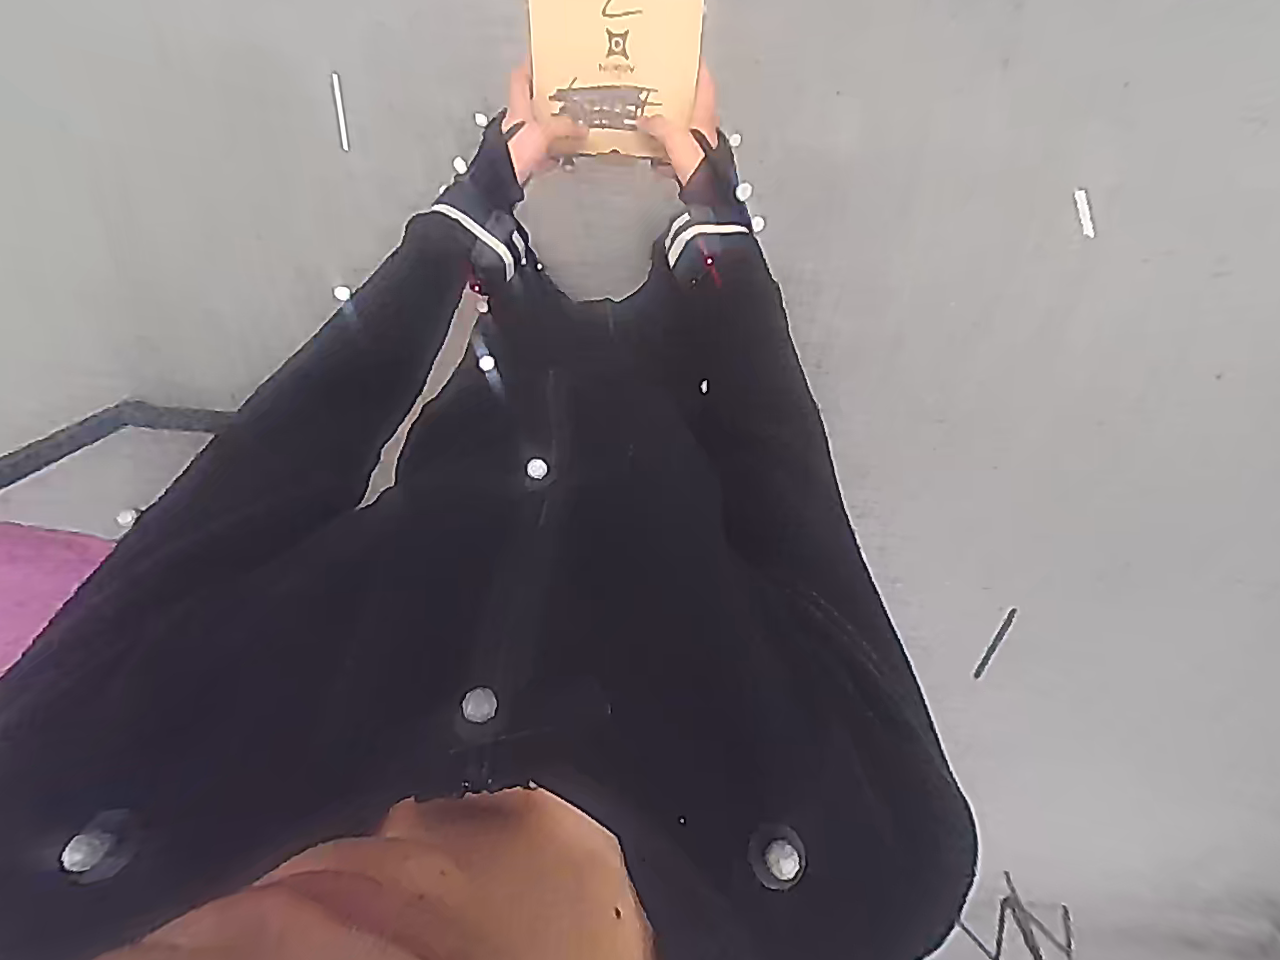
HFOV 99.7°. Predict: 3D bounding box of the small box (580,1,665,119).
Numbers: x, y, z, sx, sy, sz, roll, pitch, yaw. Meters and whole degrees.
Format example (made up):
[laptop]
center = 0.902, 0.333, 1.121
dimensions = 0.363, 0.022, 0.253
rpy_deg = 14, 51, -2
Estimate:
[small box]
center = -0.036, -0.876, 1.142
dimensions = 0.168, 0.176, 0.179
rpy_deg = 3, 122, 1
